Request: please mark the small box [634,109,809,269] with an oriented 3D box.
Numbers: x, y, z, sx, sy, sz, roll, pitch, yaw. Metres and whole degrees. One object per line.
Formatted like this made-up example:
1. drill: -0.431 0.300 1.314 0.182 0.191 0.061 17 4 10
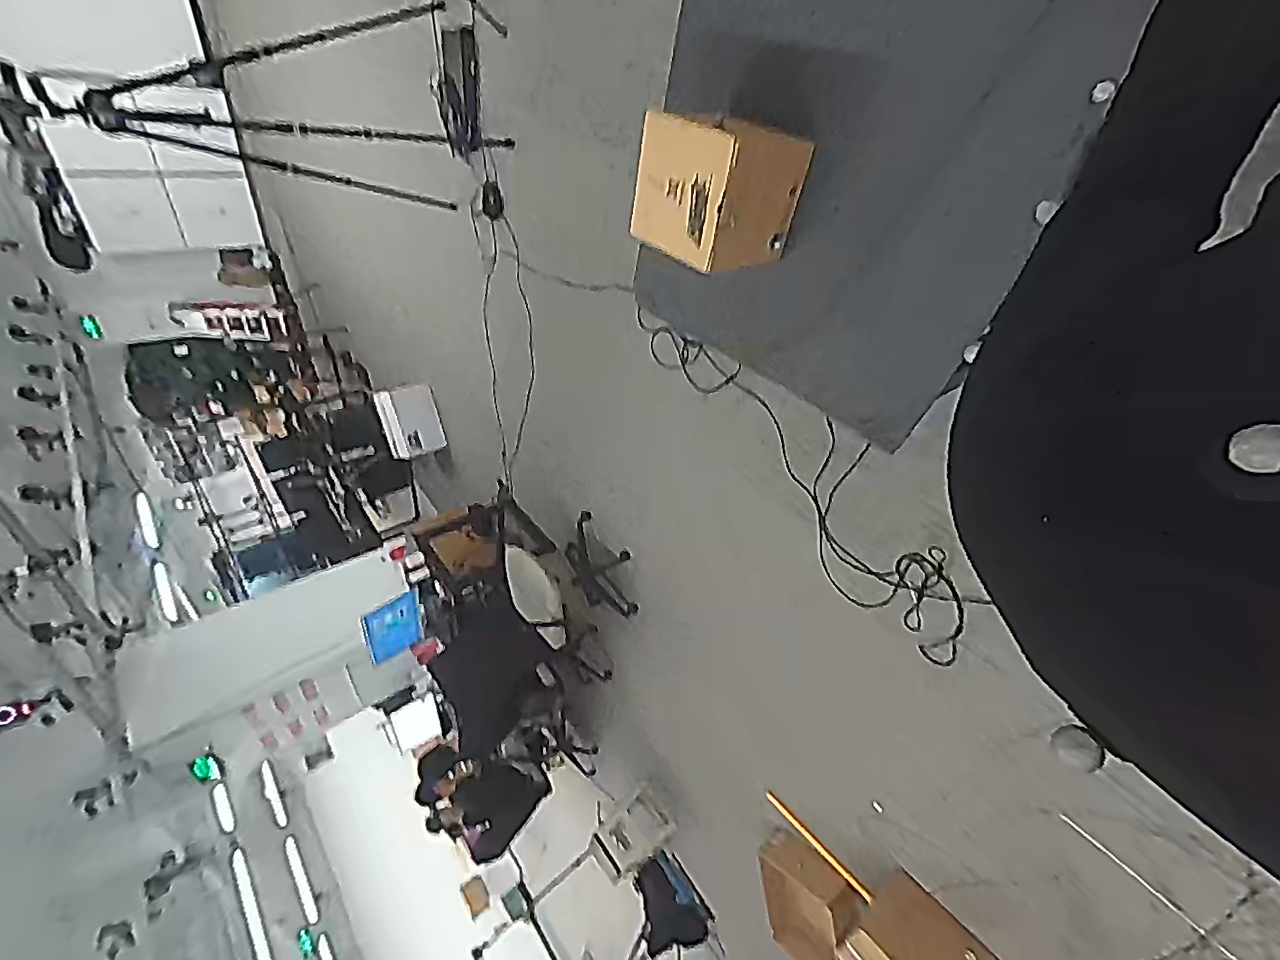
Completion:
1. small box: 0.117 -0.433 0.799 0.179 0.176 0.168 41 138 32
